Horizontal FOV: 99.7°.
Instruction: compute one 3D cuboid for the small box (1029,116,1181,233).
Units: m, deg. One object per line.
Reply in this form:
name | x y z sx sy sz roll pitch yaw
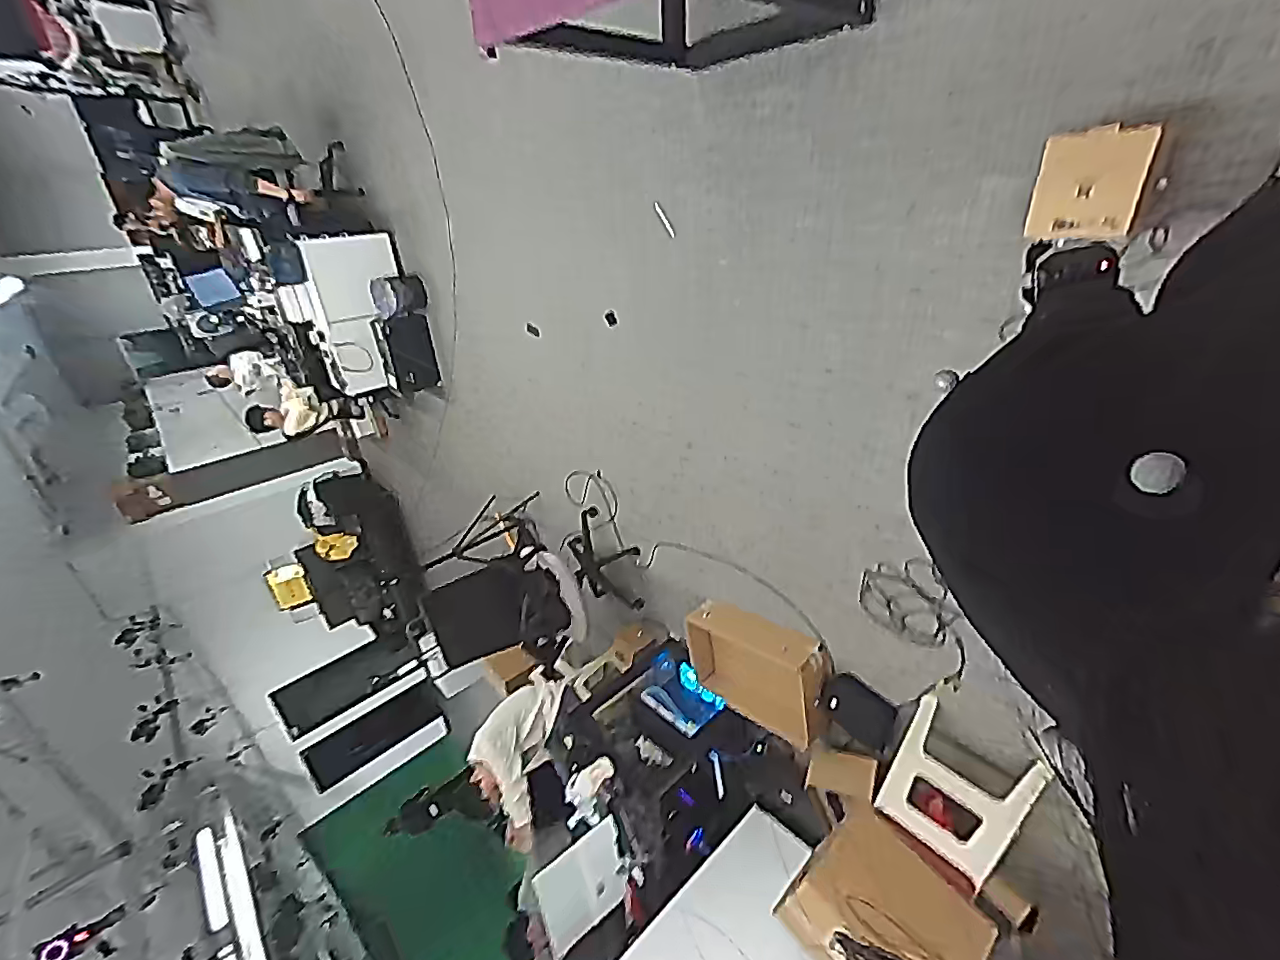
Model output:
small box | 0.879 -0.569 1.023 0.168 0.176 0.179 25 128 42
